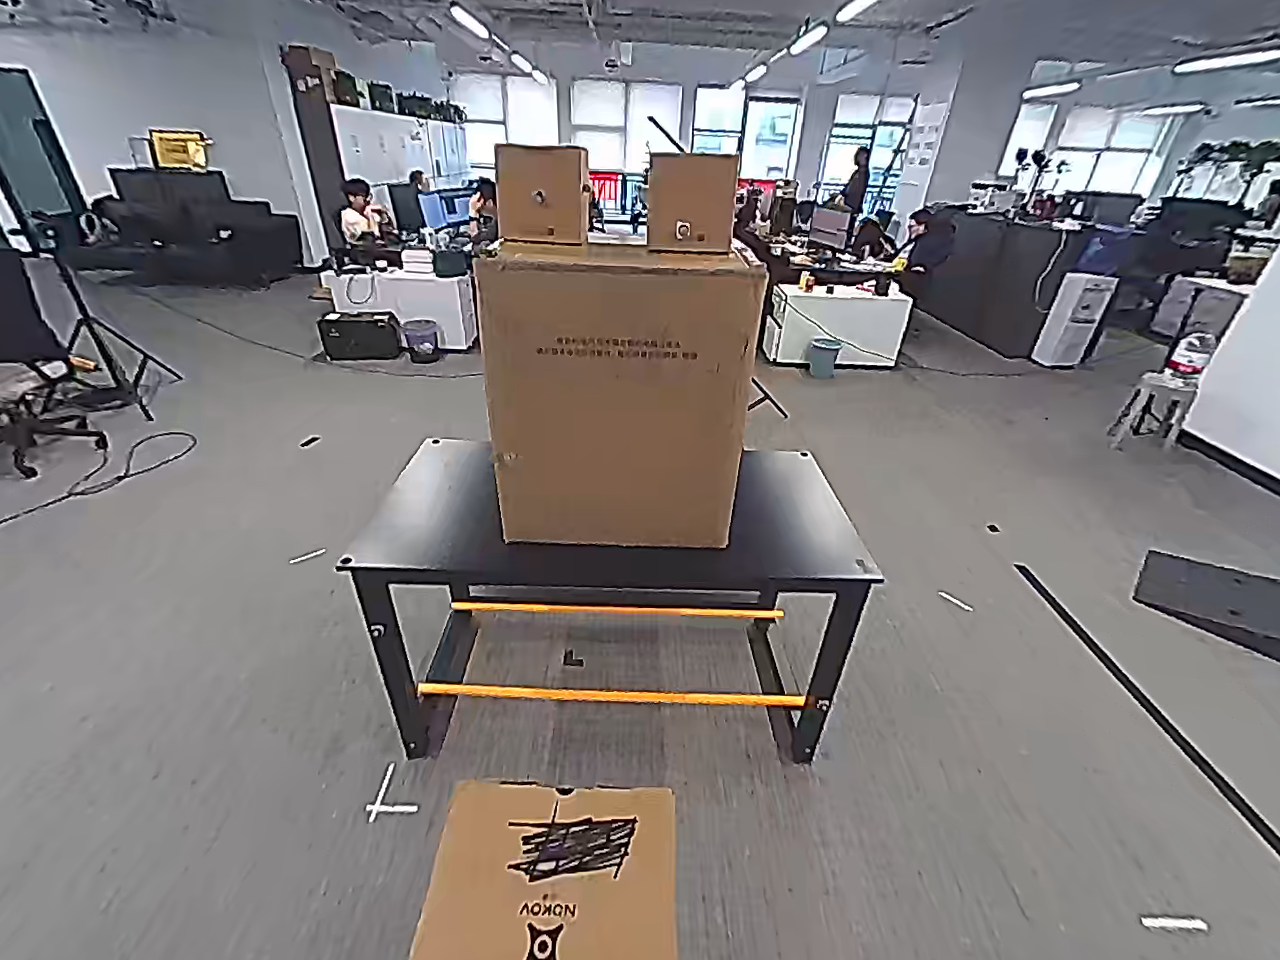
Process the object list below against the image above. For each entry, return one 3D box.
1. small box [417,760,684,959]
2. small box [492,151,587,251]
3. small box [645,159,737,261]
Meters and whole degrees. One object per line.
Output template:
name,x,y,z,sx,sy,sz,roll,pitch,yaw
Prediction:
small box,-0.056,0.339,0.406,0.168,0.176,0.179,1,38,0
small box,-0.198,-0.578,1.118,0.168,0.176,0.179,3,30,-2
small box,0.096,-0.546,1.092,0.168,0.176,0.179,1,30,1
